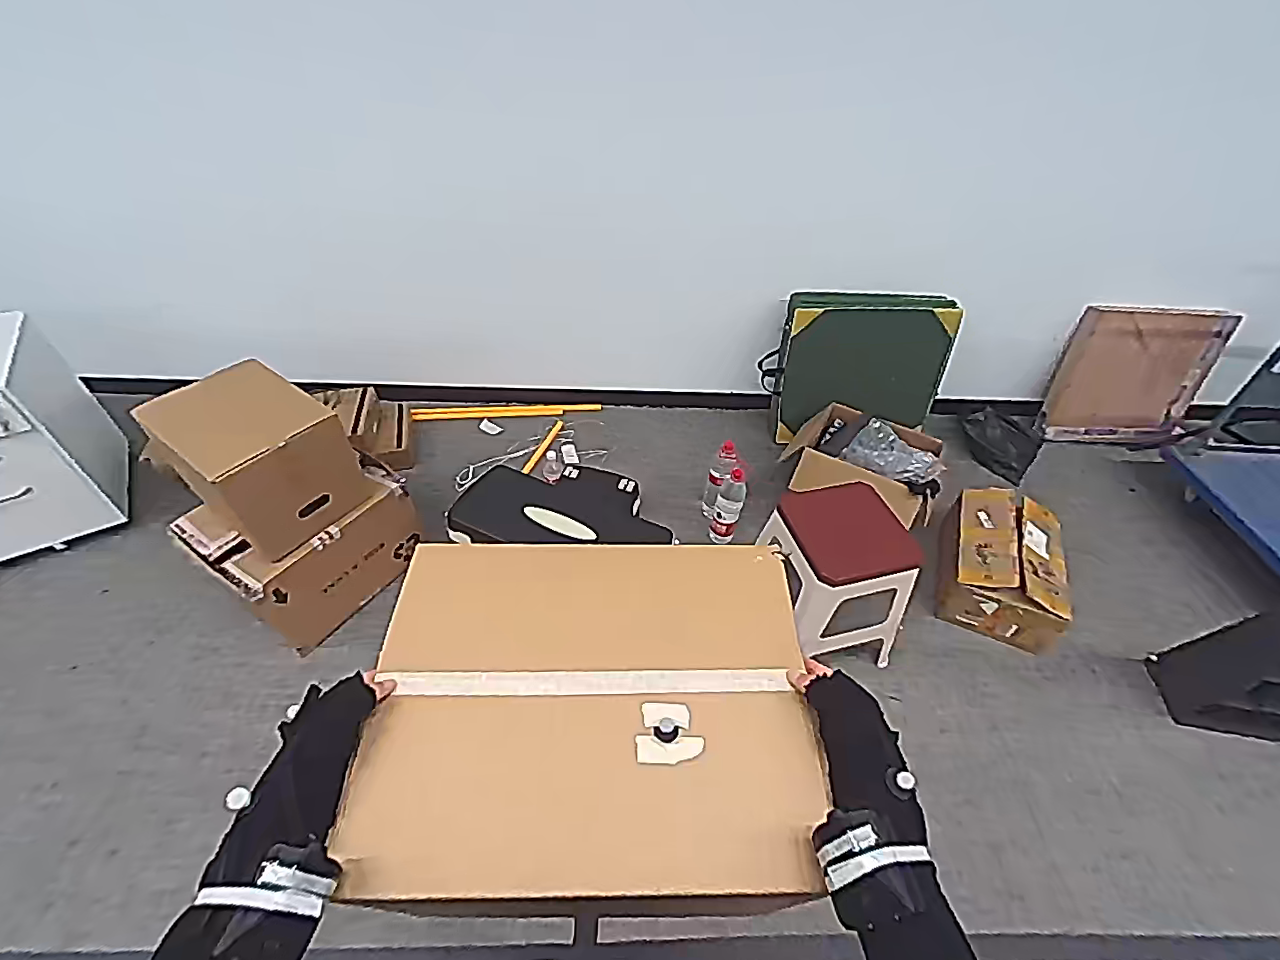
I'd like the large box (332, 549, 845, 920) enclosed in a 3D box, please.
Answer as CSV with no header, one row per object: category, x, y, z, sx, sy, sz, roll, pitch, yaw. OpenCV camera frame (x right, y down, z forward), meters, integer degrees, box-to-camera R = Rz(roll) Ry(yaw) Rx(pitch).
large box,-0.045,0.292,0.621,0.408,0.320,0.320,1,49,-2
